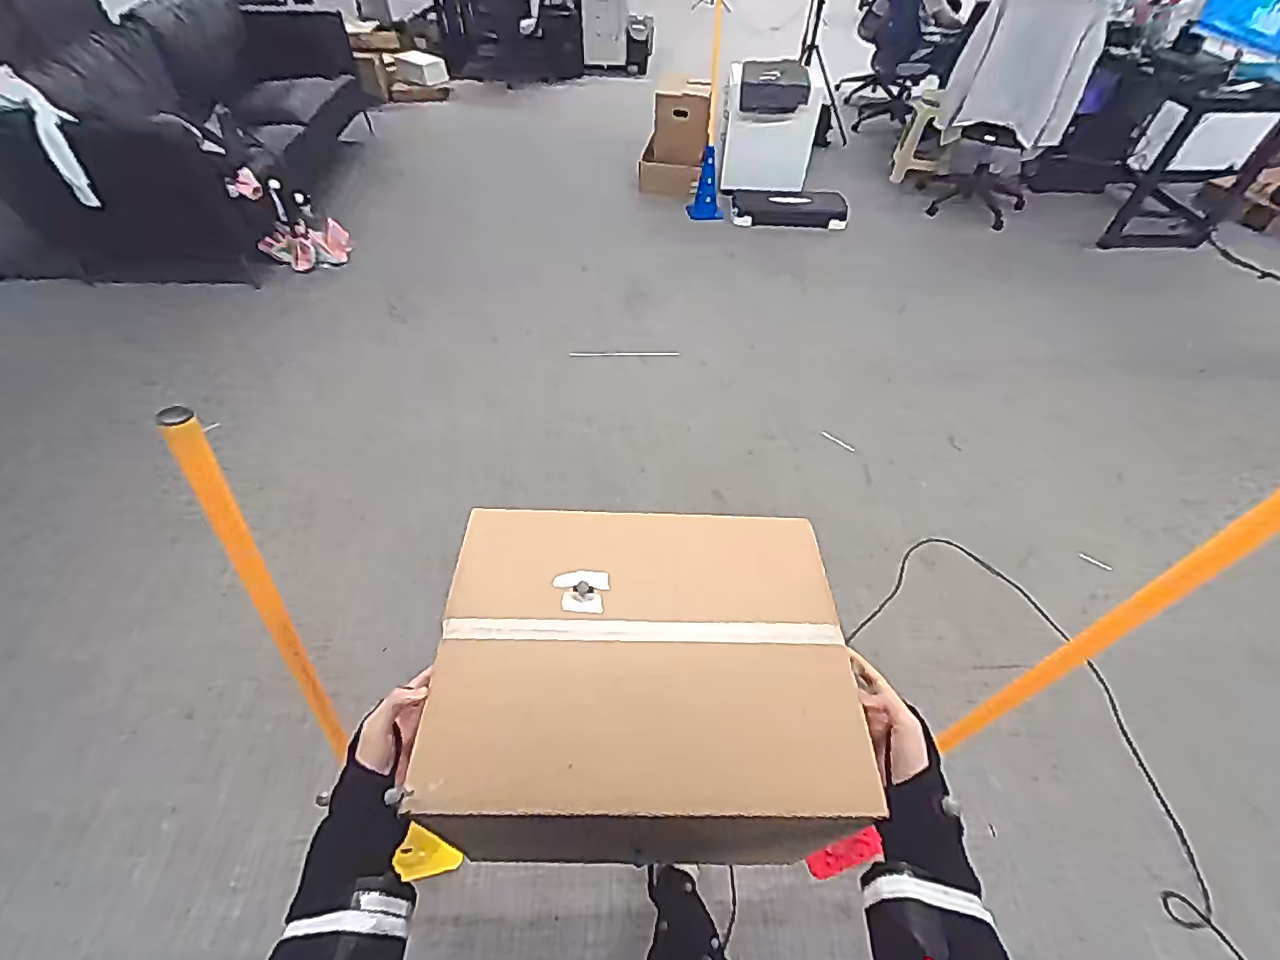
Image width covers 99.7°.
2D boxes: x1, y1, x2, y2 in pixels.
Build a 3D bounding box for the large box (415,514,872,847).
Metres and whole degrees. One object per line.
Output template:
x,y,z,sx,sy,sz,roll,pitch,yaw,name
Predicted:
0.000,0.255,0.671,0.408,0.320,0.320,1,49,-2,large box
